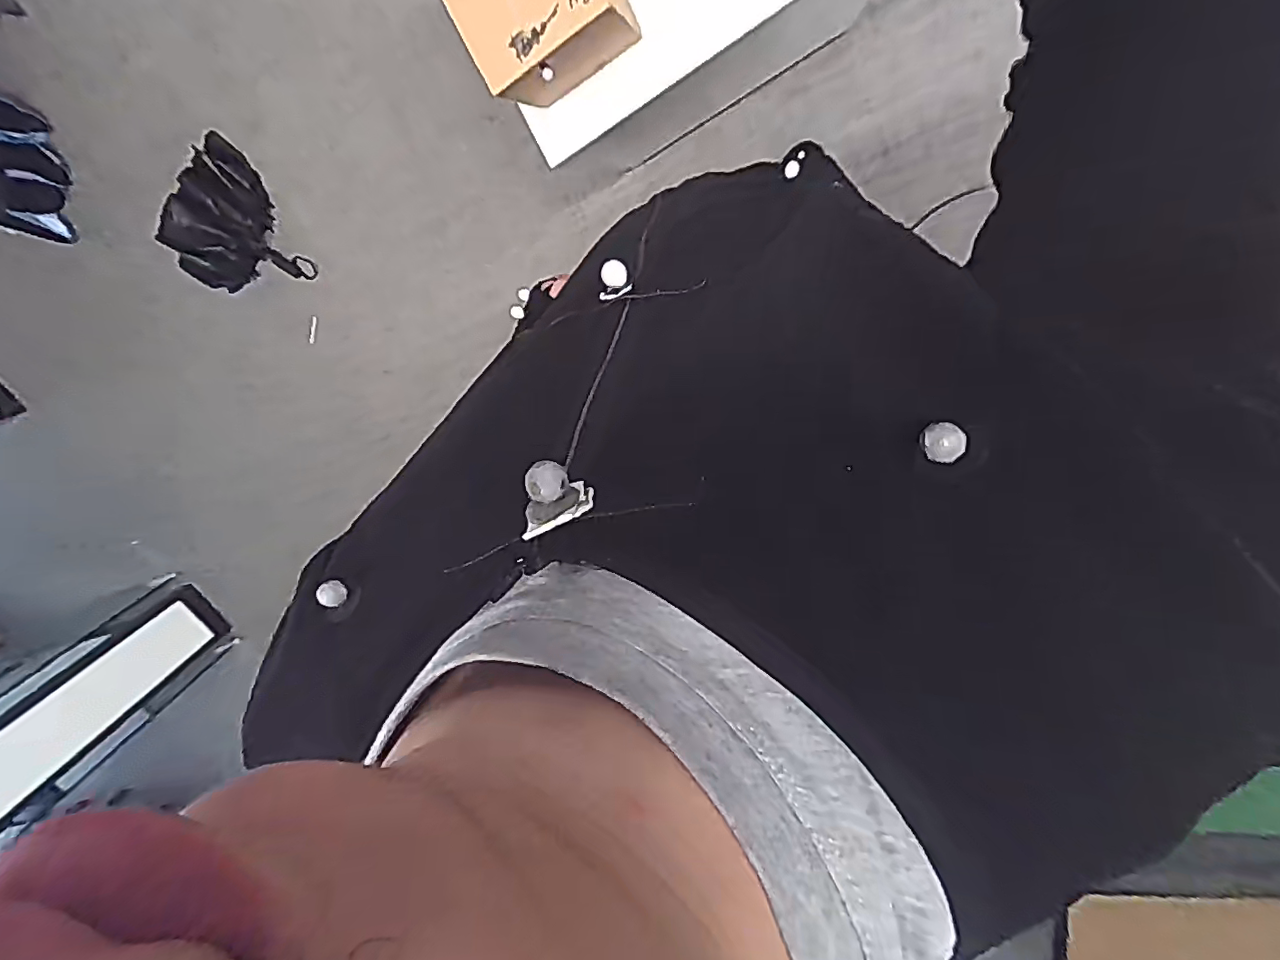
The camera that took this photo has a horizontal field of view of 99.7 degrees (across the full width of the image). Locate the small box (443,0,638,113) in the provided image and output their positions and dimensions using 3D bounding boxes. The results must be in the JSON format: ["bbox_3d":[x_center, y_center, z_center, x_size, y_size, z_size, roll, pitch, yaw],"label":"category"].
[{"bbox_3d":[-0.122,-0.574,0.638,0.168,0.176,0.179,-21,111,23],"label":"small box"}]
